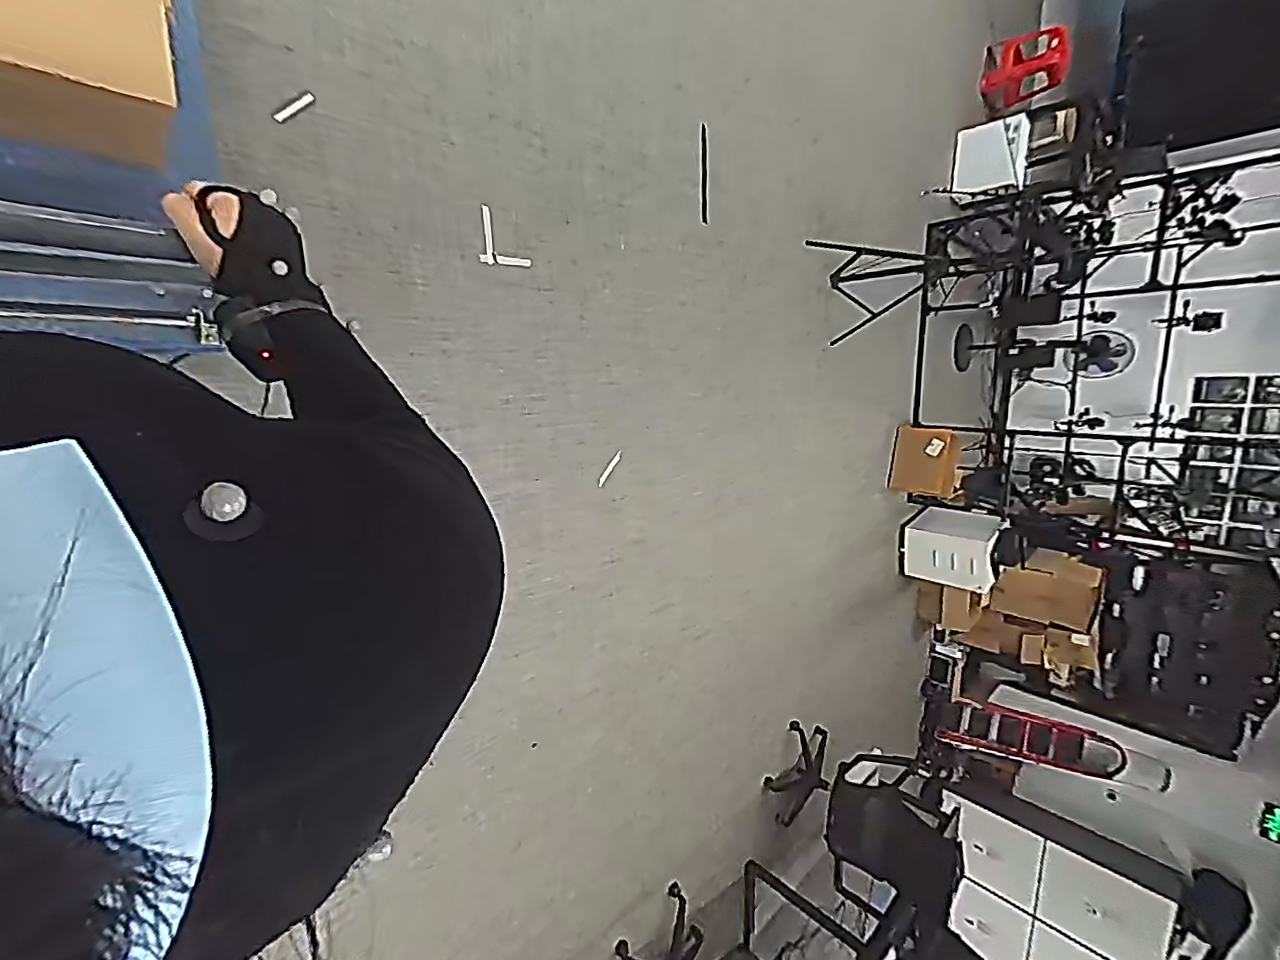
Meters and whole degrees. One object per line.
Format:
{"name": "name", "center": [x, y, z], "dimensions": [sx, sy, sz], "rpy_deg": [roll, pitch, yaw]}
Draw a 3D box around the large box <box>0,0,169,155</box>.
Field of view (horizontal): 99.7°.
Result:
{"name": "large box", "center": [-0.904, -0.680, 0.702], "dimensions": [0.408, 0.320, 0.320], "rpy_deg": [-9, 102, -42]}
